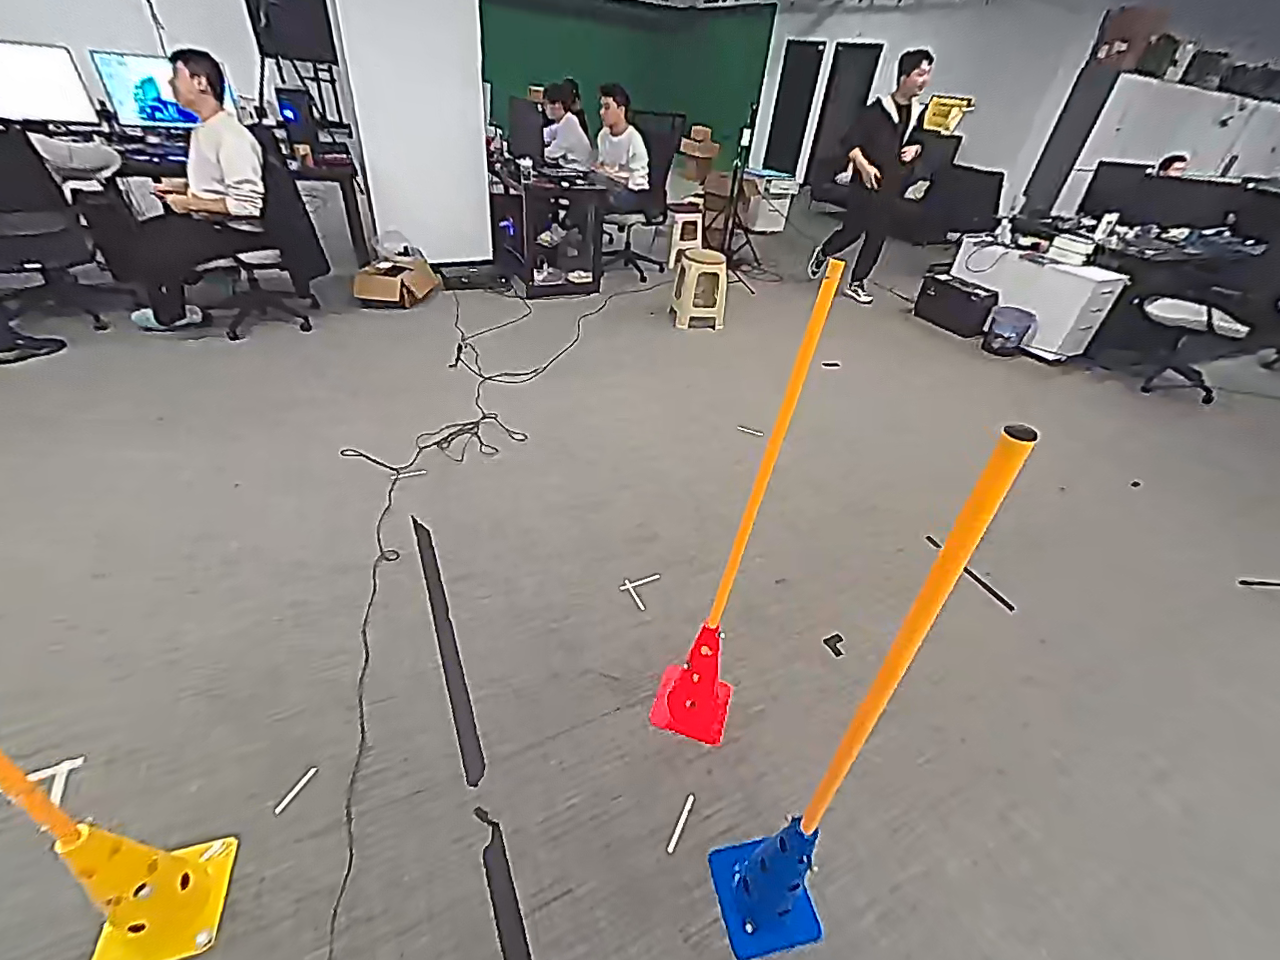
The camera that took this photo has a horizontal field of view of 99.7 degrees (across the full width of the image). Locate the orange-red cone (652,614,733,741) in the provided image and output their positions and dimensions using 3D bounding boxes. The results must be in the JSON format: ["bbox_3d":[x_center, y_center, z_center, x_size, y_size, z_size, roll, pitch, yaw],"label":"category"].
[{"bbox_3d":[0.162,0.477,1.403,0.198,0.360,0.199,15,39,13],"label":"orange-red cone"}]

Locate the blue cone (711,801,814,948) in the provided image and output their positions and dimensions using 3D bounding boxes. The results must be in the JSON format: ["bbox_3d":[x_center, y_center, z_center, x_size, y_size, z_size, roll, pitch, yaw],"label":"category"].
[{"bbox_3d":[0.278,0.753,1.076,0.193,0.380,0.192,-3,37,-11],"label":"blue cone"}]
